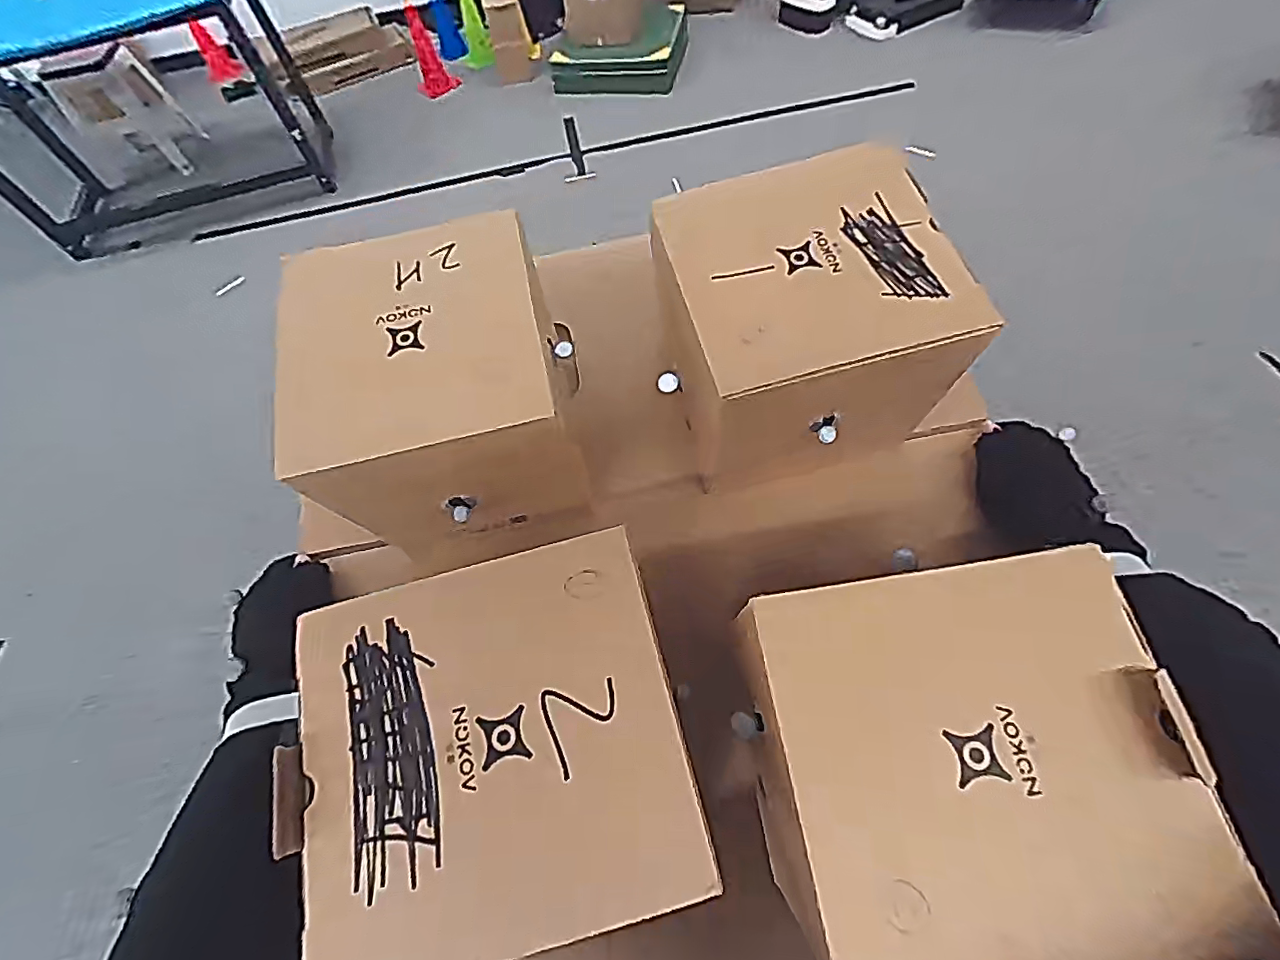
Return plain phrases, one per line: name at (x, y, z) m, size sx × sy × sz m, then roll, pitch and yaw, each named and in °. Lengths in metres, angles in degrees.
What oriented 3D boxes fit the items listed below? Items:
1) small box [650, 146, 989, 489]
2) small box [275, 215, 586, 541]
small box at (0.111, -0.109, 0.418) m, size 0.179 × 0.176 × 0.168 m, roll -14°, pitch 69°, yaw 0°
small box at (-0.144, -0.061, 0.419) m, size 0.168 × 0.176 × 0.179 m, roll -13°, pitch 67°, yaw -2°
